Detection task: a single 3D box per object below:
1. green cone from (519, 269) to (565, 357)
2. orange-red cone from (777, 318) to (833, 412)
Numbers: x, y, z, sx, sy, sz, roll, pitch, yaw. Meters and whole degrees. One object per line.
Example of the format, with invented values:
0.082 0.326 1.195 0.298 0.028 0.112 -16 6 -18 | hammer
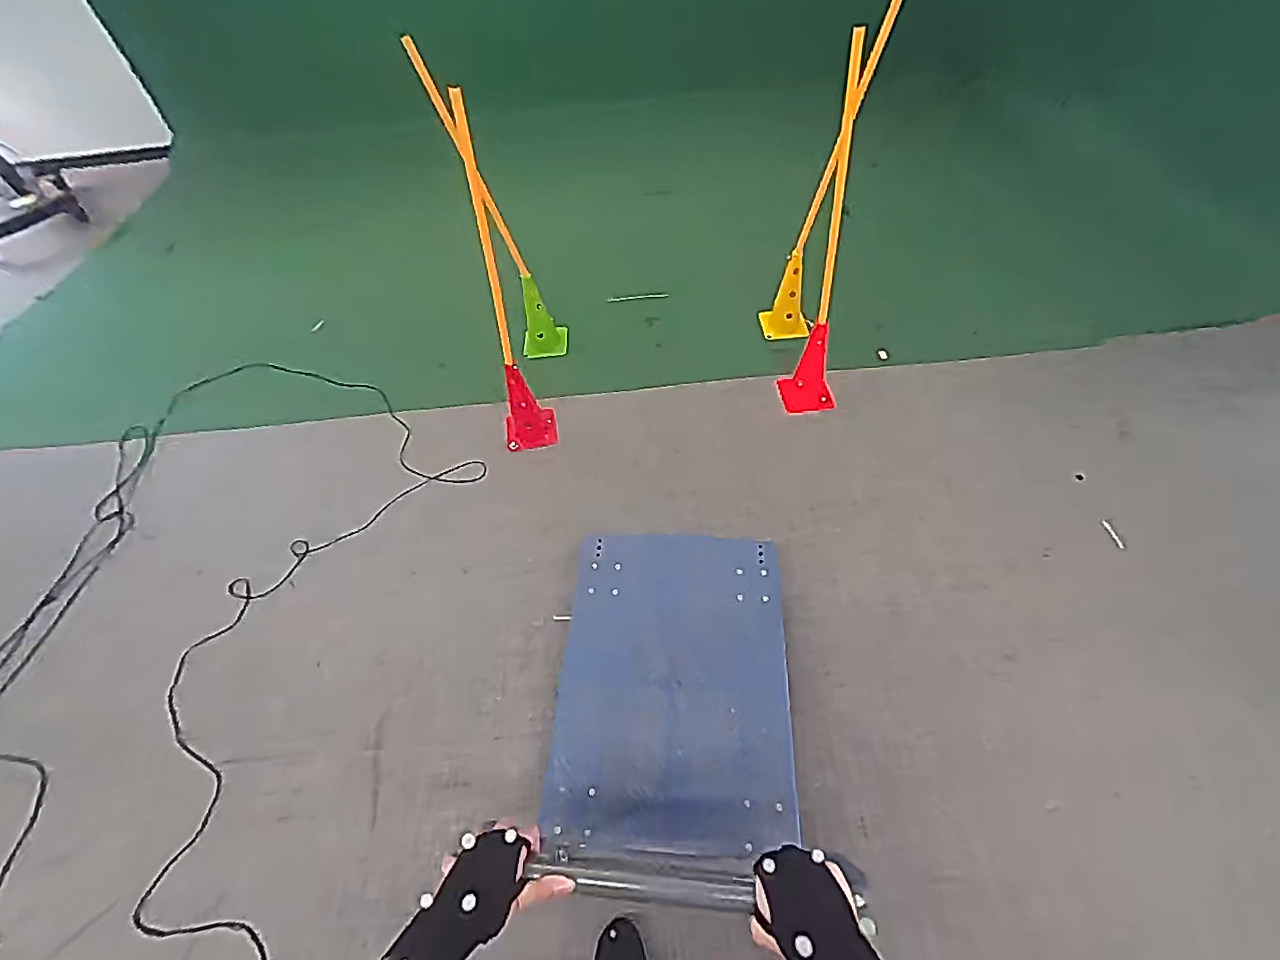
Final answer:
-0.459 -0.744 2.360 0.200 0.368 0.202 -6 52 1 | green cone
0.654 -0.455 2.052 0.198 0.360 0.199 -5 51 0 | orange-red cone
